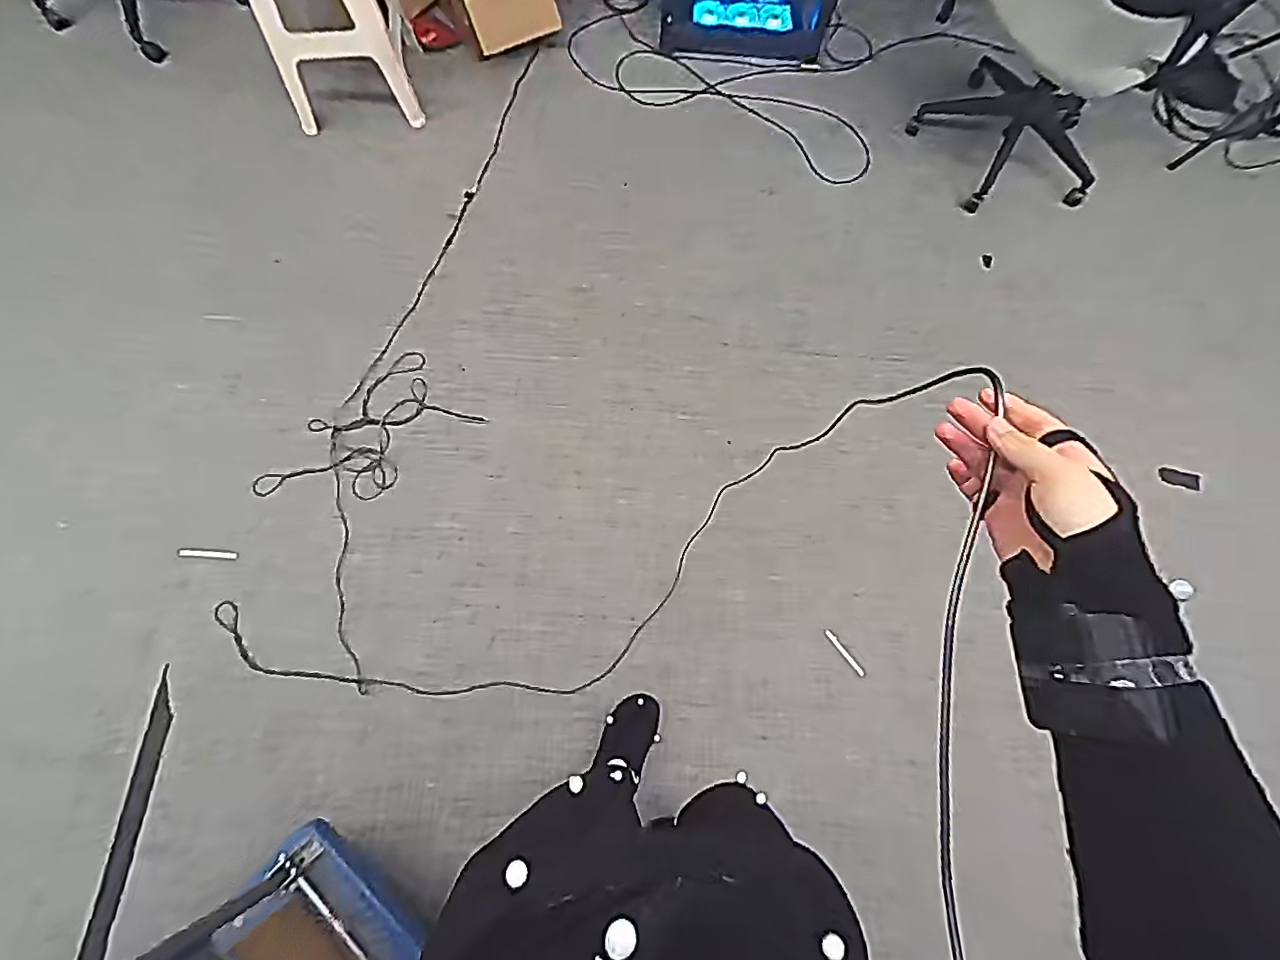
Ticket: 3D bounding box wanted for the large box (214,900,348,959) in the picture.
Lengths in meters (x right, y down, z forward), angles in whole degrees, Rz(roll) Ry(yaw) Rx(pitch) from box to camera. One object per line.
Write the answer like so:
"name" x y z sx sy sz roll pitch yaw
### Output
"large box" -0.585 0.962 0.793 0.408 0.320 0.320 42 74 10
